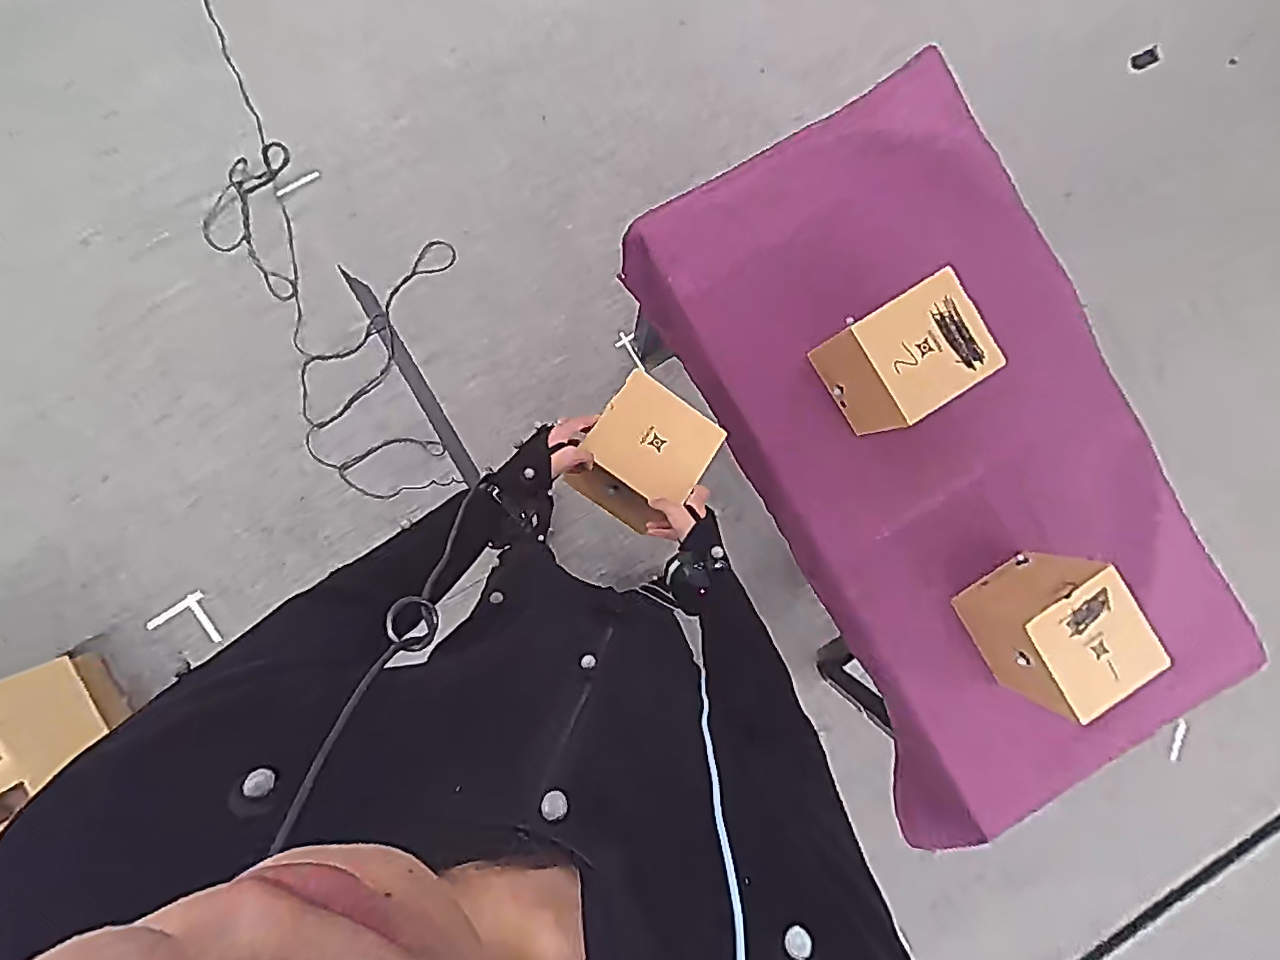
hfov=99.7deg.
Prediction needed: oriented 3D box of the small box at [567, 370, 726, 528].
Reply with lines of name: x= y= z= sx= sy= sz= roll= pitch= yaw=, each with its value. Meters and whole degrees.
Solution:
small box: x=0.002 y=-0.038 z=0.867 sx=0.179 sy=0.176 sz=0.168 roll=35 pitch=70 yaw=-3

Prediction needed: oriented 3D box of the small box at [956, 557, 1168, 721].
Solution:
small box: x=0.653 y=0.236 z=0.861 sx=0.168 sy=0.176 sz=0.179 roll=-31 pitch=92 yaw=-3
